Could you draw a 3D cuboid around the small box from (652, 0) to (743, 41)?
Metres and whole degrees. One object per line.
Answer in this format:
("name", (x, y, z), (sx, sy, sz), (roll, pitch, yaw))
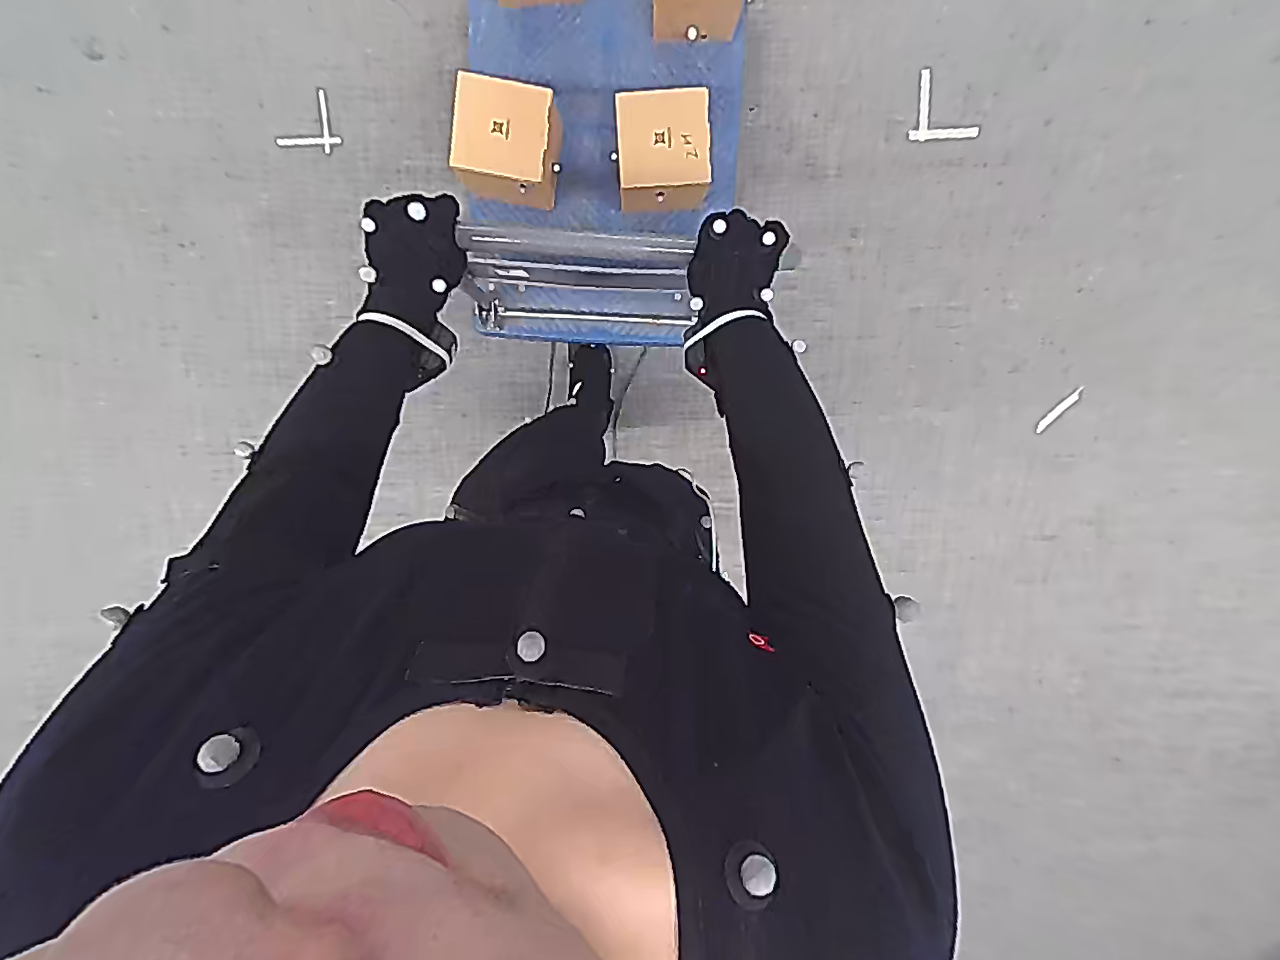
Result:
("small box", (0.108, -0.979, 1.023), (0.168, 0.176, 0.179), (-2, 102, 0))

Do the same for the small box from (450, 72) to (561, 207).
("small box", (-0.261, -0.666, 1.079), (0.179, 0.176, 0.168), (8, 100, -4))

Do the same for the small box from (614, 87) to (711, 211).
("small box", (0.043, -0.654, 1.088), (0.179, 0.176, 0.168), (-4, 101, 0))
